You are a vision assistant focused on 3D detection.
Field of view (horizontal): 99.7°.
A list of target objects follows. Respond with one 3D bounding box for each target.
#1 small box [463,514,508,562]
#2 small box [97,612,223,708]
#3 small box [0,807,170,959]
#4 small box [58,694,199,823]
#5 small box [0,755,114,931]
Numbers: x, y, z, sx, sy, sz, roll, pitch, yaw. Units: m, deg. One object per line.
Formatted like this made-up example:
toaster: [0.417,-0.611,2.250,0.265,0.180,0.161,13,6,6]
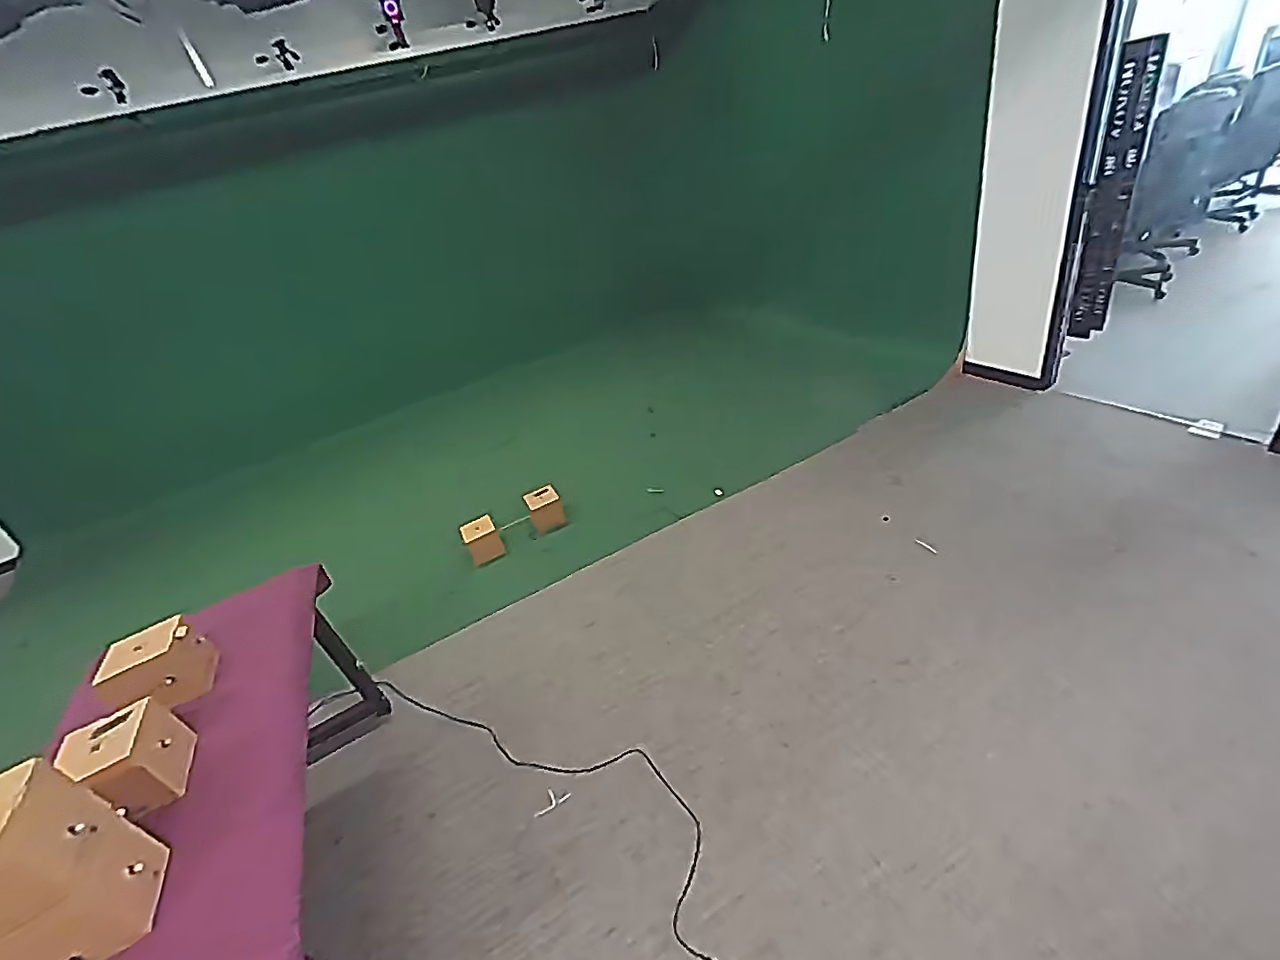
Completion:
small box: [-0.830,0.317,2.905,0.168,0.176,0.179,-26,33,-16]
small box: [-1.262,0.495,1.440,0.179,0.176,0.168,-26,33,-16]
small box: [-0.986,0.733,0.949,0.179,0.176,0.168,-26,32,-17]
small box: [-1.116,0.619,1.183,0.168,0.176,0.179,-26,34,-17]
small box: [-1.022,0.596,0.865,0.179,0.176,0.168,-26,34,-18]
